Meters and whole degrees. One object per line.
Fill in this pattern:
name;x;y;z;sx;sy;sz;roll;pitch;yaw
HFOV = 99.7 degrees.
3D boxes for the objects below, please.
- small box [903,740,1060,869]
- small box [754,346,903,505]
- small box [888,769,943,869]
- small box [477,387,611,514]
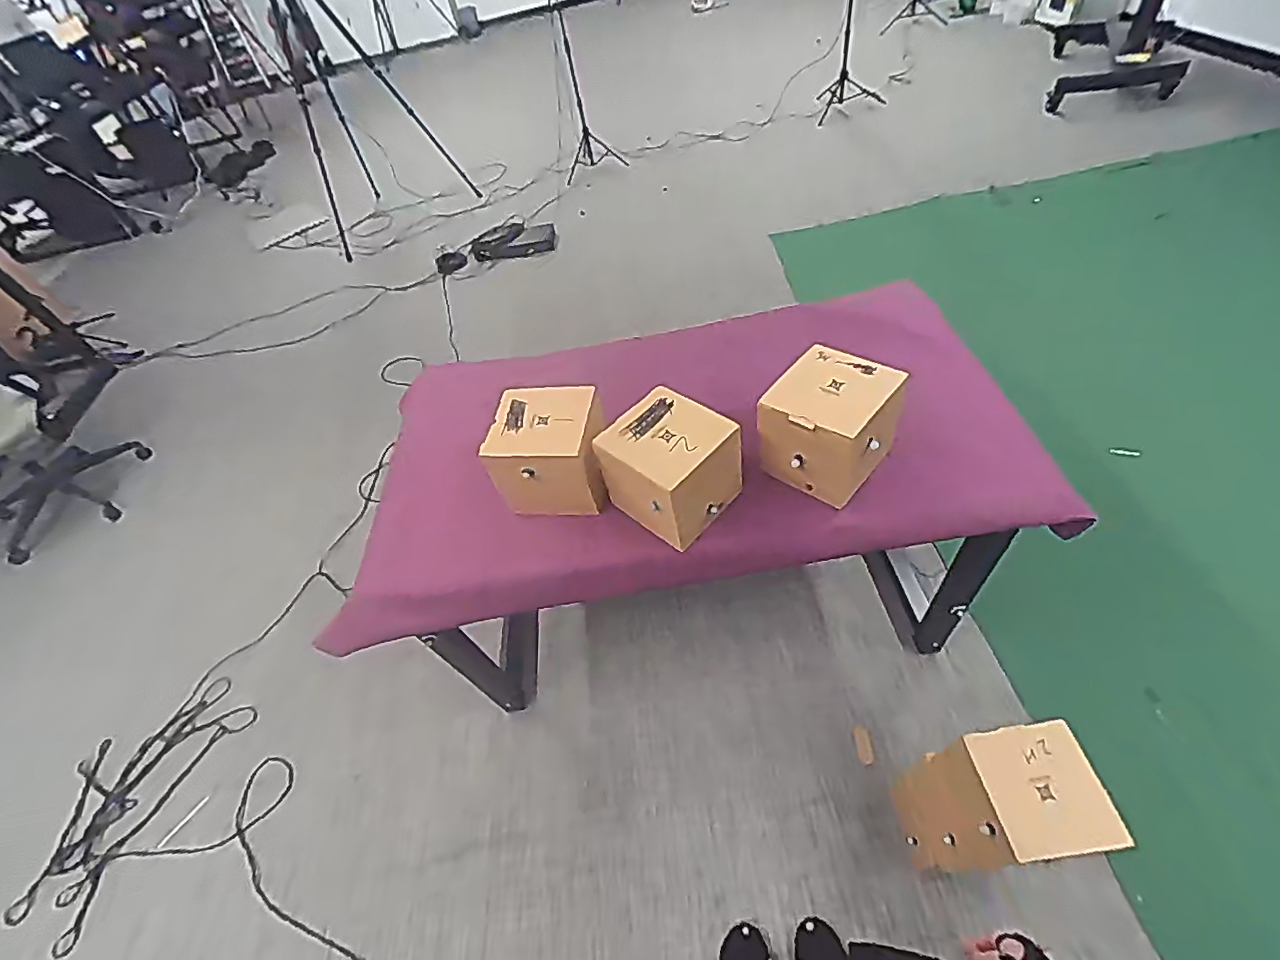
small box;0.624;0.613;1.018;0.168;0.176;0.179;-11;51;2
small box;0.312;-0.090;0.915;0.168;0.176;0.179;31;64;32
small box;0.644;0.713;1.144;0.179;0.176;0.168;-9;50;4
small box;-0.162;-0.051;0.984;0.179;0.176;0.168;1;52;11
